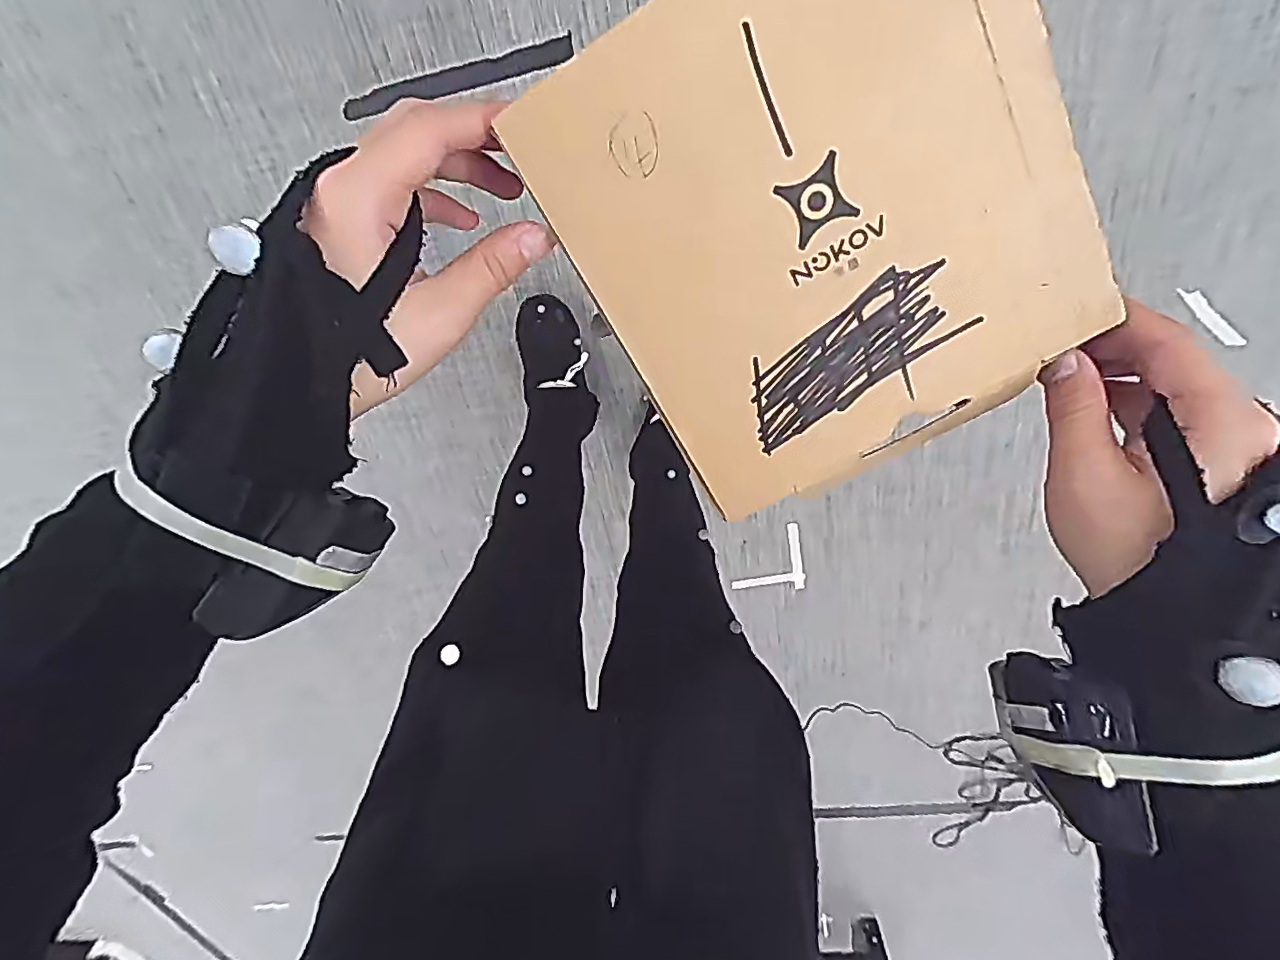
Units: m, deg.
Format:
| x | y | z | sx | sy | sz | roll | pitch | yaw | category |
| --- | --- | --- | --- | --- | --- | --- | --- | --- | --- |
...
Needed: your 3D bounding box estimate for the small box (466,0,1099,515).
| x | y | z | sx | sy | sz | roll | pitch | yaw | category |
| --- | --- | --- | --- | --- | --- | --- | --- | --- | --- |
| 0.056 | -0.119 | 0.260 | 0.168 | 0.176 | 0.179 | -29 | 108 | 11 | small box |
